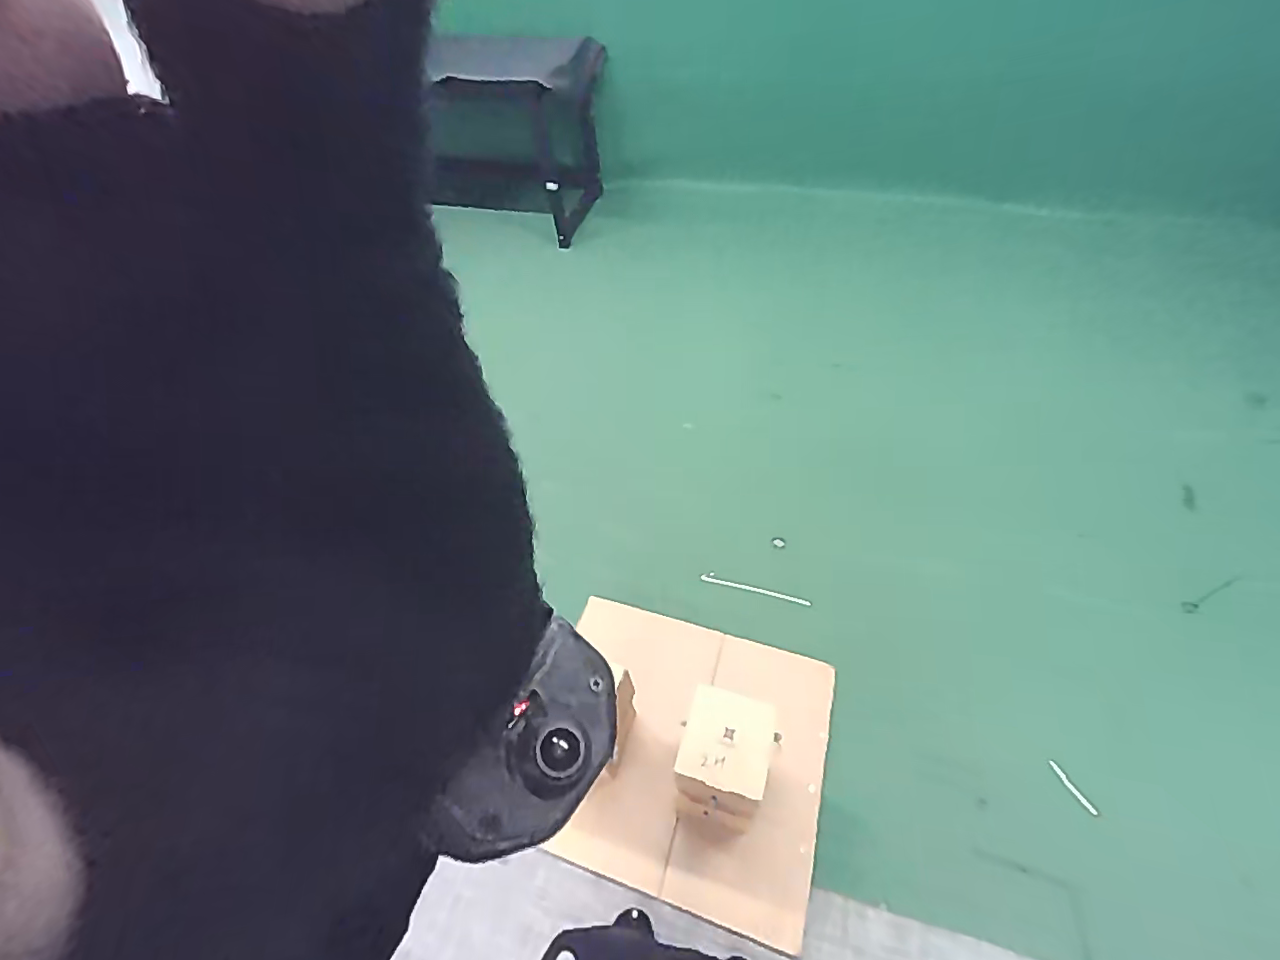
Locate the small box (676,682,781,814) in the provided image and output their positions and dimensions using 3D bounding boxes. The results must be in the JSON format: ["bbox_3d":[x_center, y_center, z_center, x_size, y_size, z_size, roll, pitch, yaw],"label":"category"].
[{"bbox_3d":[0.175,0.538,1.081,0.168,0.176,0.179,12,54,15],"label":"small box"}]

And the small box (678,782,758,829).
[{"bbox_3d":[0.183,0.649,1.205,0.168,0.176,0.179,11,54,14],"label":"small box"}]

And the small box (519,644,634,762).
[{"bbox_3d":[-0.125,0.479,1.154,0.179,0.176,0.168,13,54,18],"label":"small box"}]
